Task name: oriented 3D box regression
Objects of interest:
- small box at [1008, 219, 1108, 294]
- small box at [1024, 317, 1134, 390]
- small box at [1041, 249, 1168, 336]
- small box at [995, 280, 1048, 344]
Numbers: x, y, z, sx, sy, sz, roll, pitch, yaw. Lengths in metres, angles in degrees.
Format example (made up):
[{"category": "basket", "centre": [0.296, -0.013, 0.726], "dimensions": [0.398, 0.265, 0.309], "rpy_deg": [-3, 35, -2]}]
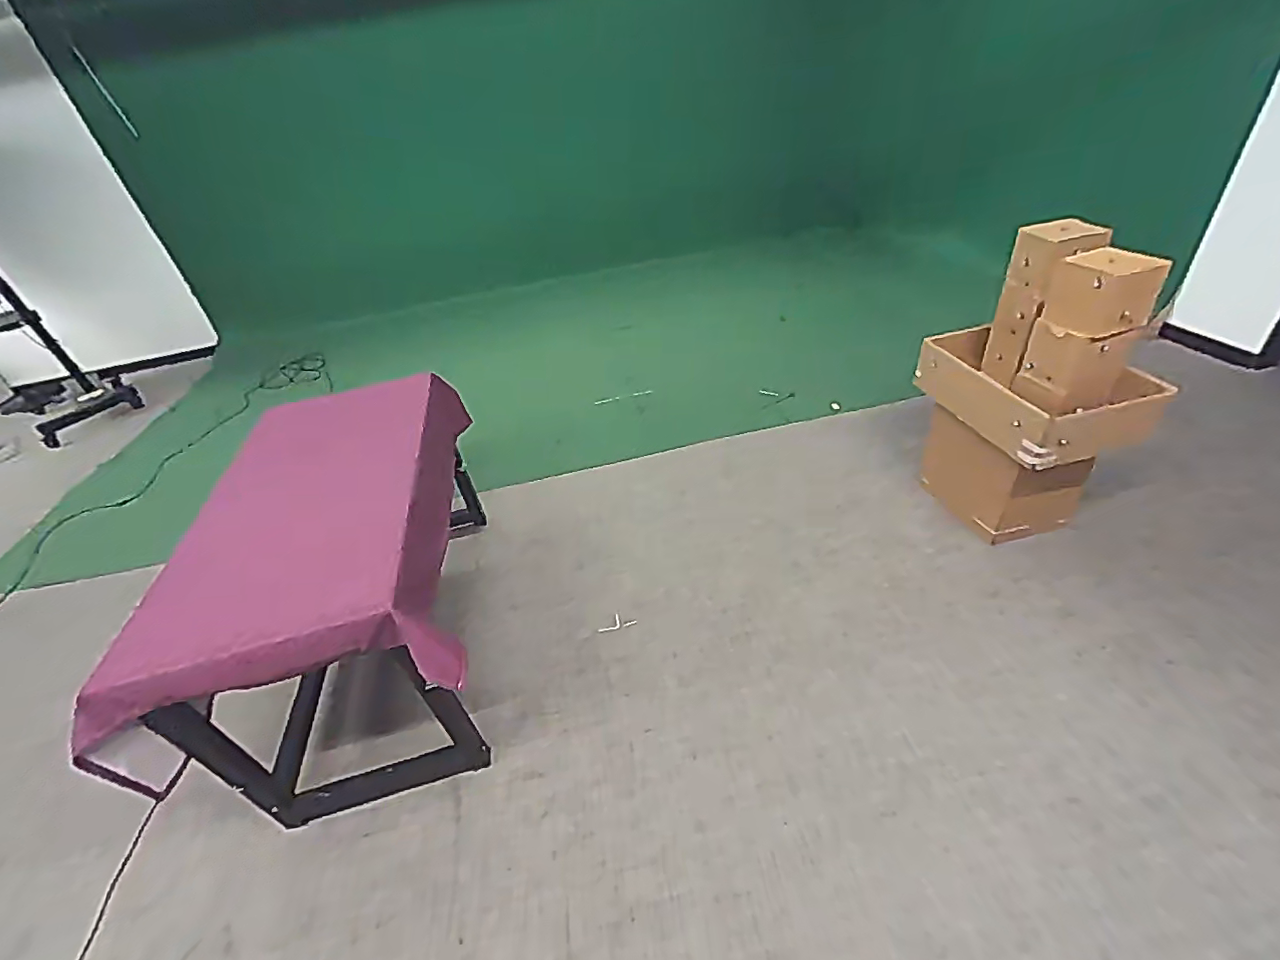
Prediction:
[{"category": "small box", "centre": [1.303, -0.702, 1.705], "dimensions": [0.179, 0.176, 0.168], "rpy_deg": [-10, 39, 0]}, {"category": "small box", "centre": [1.256, -0.378, 1.563], "dimensions": [0.179, 0.176, 0.168], "rpy_deg": [-14, 37, -6]}, {"category": "small box", "centre": [1.243, -0.508, 1.466], "dimensions": [0.168, 0.176, 0.179], "rpy_deg": [-16, 38, -8]}, {"category": "small box", "centre": [1.321, -0.569, 1.801], "dimensions": [0.179, 0.176, 0.168], "rpy_deg": [-11, 39, -2]}]
